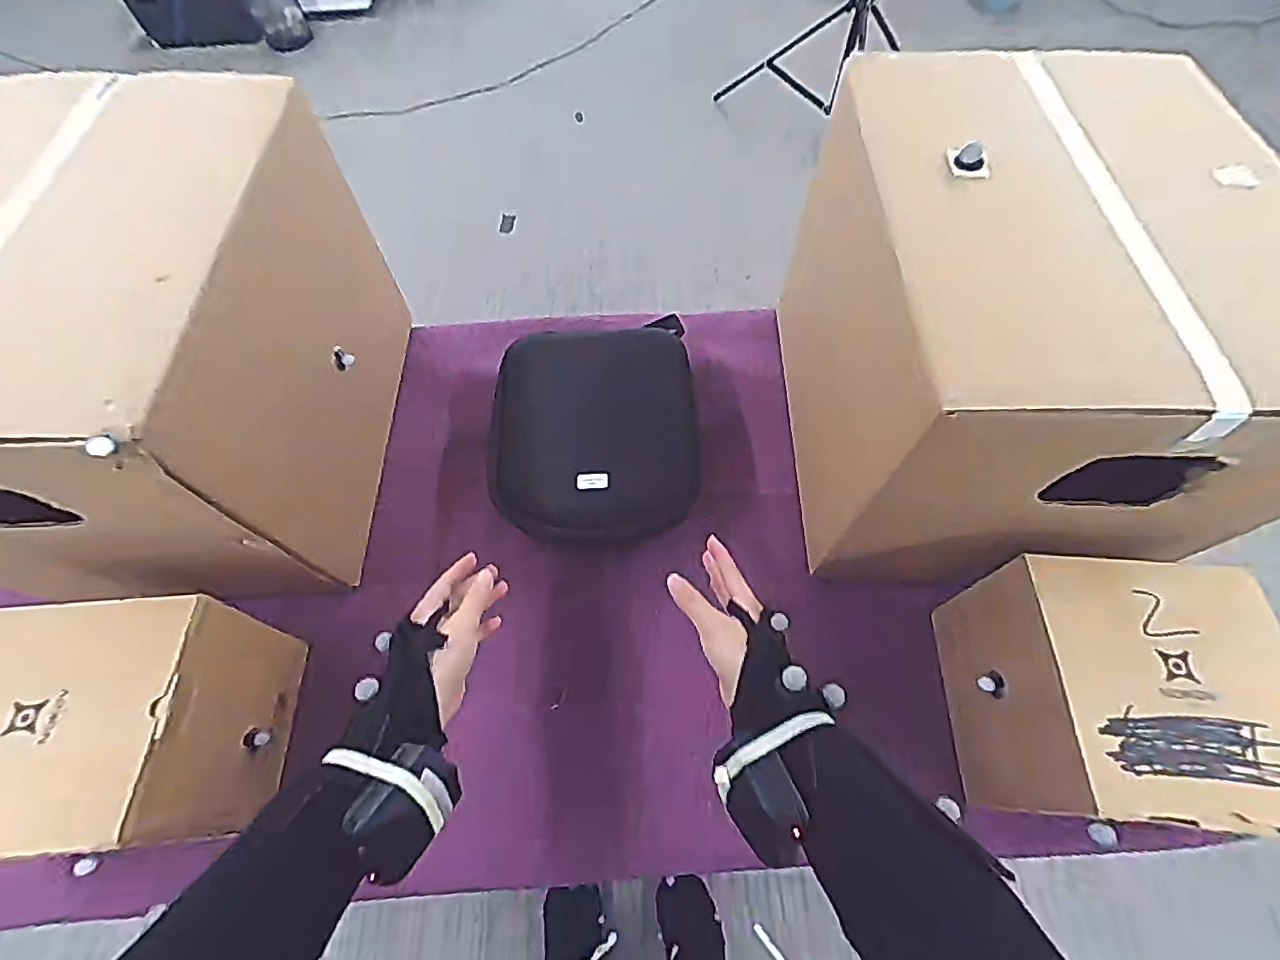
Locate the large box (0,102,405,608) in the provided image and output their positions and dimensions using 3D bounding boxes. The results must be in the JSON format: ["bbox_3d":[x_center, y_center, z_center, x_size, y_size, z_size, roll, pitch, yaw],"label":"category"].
[{"bbox_3d":[-0.467,-0.109,0.555,0.320,0.320,0.408,-3,63,-2],"label":"large box"}]
